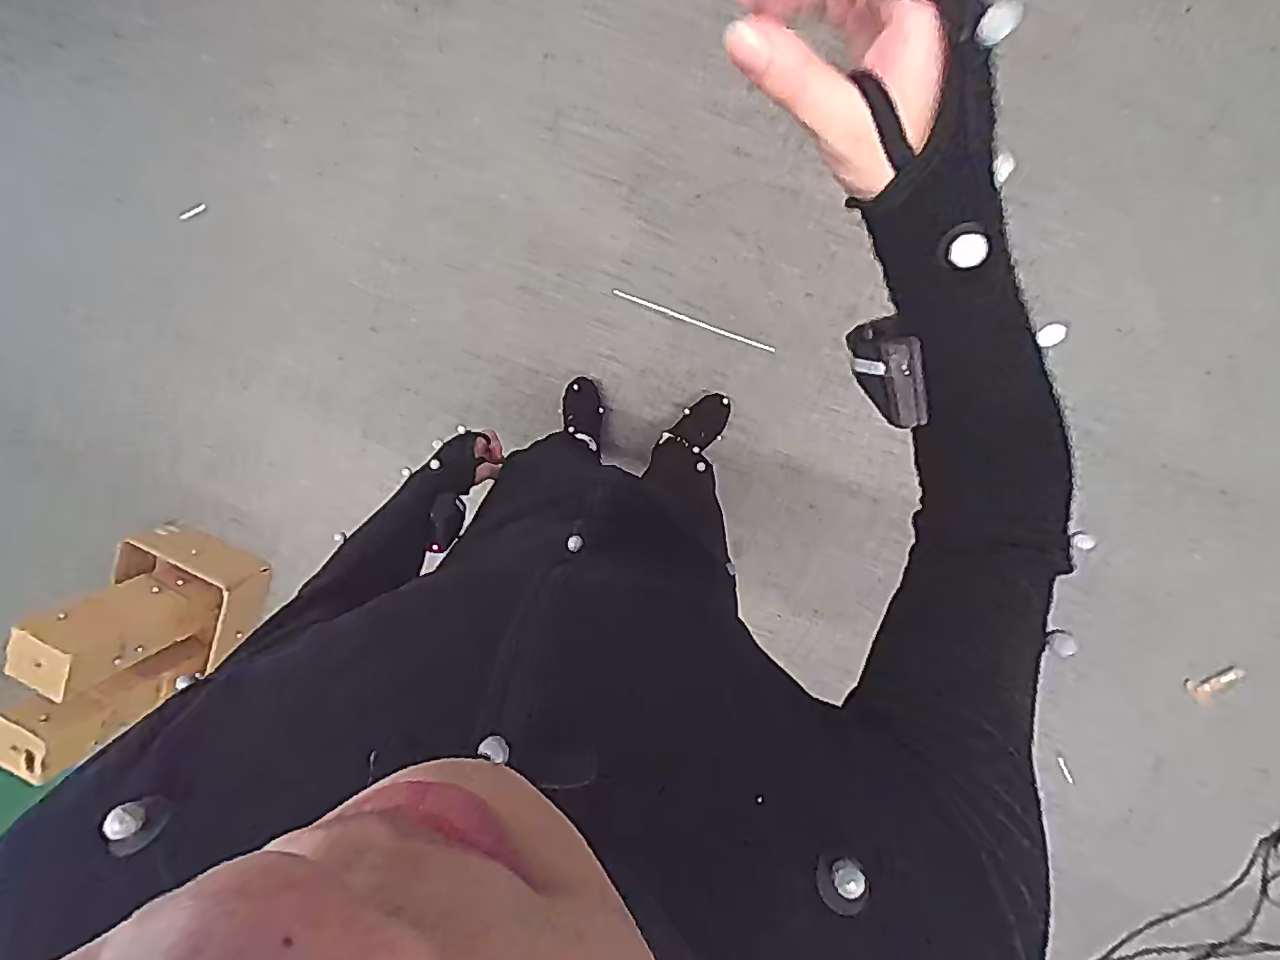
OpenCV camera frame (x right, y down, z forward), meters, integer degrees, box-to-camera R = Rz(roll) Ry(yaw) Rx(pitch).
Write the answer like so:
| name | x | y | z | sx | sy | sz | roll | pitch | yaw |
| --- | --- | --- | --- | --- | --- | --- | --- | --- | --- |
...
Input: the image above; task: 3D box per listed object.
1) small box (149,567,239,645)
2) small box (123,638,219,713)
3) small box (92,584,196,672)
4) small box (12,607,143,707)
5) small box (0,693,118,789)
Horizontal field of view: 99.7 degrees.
| name | x | y | z | sx | sy | sz | roll | pitch | yaw |
| --- | --- | --- | --- | --- | --- | --- | --- | --- | --- |
| small box | -1.502 | 0.412 | 1.809 | 0.179 | 0.176 | 0.168 | 26 | 105 | 2 |
| small box | -1.627 | 0.664 | 1.882 | 0.179 | 0.176 | 0.168 | 26 | 105 | 3 |
| small box | -1.521 | 0.441 | 1.649 | 0.179 | 0.176 | 0.168 | 28 | 105 | 2 |
| small box | -1.545 | 0.477 | 1.491 | 0.179 | 0.176 | 0.168 | 28 | 105 | 1 |
| small box | -1.681 | 0.739 | 1.567 | 0.179 | 0.176 | 0.168 | 26 | 104 | 4 |
